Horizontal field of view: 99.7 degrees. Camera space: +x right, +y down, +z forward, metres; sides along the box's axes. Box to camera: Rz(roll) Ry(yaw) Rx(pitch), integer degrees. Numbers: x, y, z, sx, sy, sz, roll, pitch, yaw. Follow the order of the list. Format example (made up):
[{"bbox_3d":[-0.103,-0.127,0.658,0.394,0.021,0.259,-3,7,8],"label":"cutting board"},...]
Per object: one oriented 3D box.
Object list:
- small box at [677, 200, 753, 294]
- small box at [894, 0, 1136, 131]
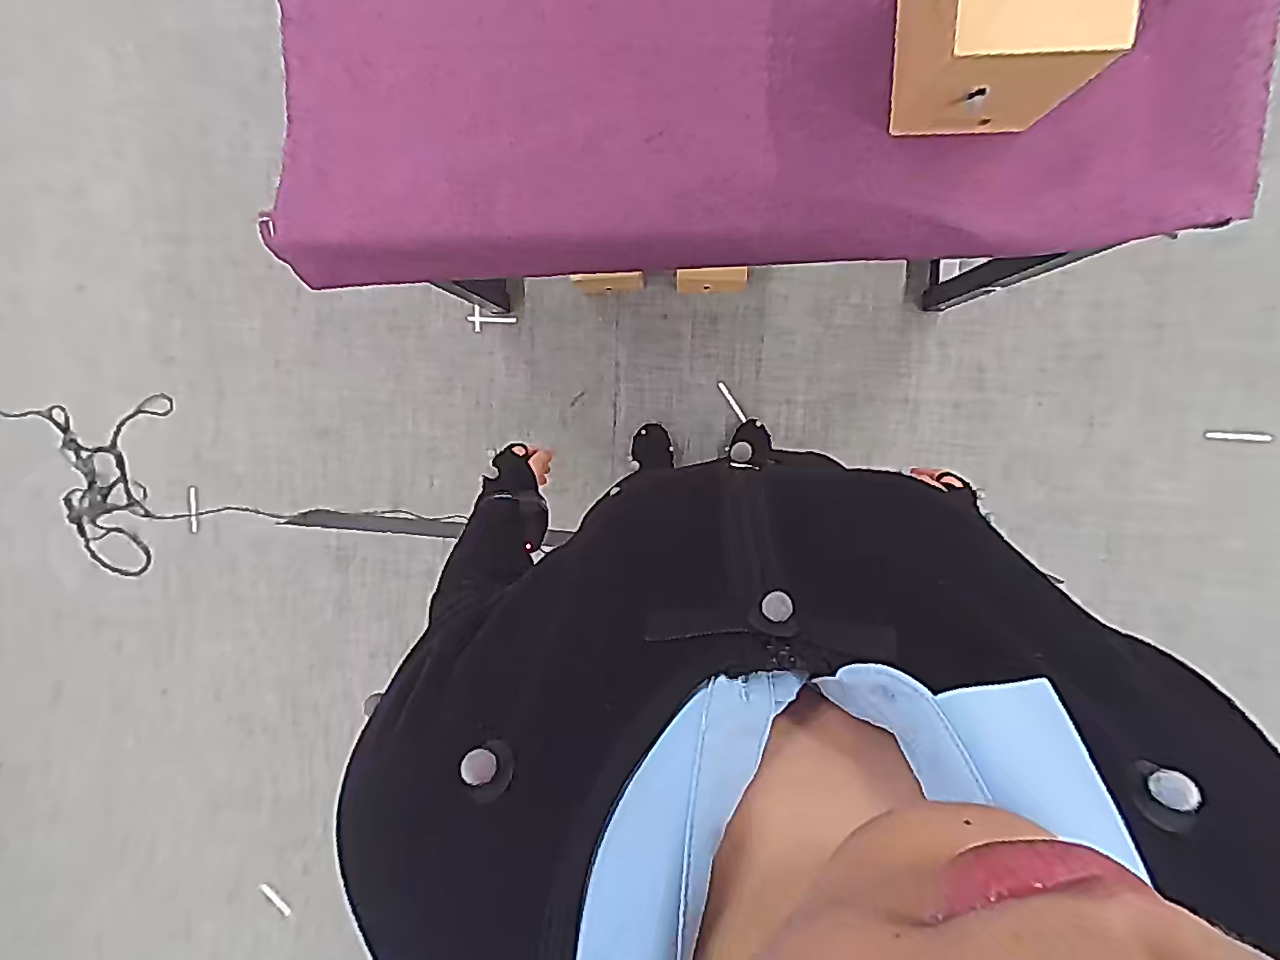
[{"bbox_3d":[0.179,-0.567,1.336,0.168,0.176,0.179,4,98,3],"label":"small box"},{"bbox_3d":[0.394,-0.509,0.590,0.168,0.176,0.179,1,98,4],"label":"small box"}]
